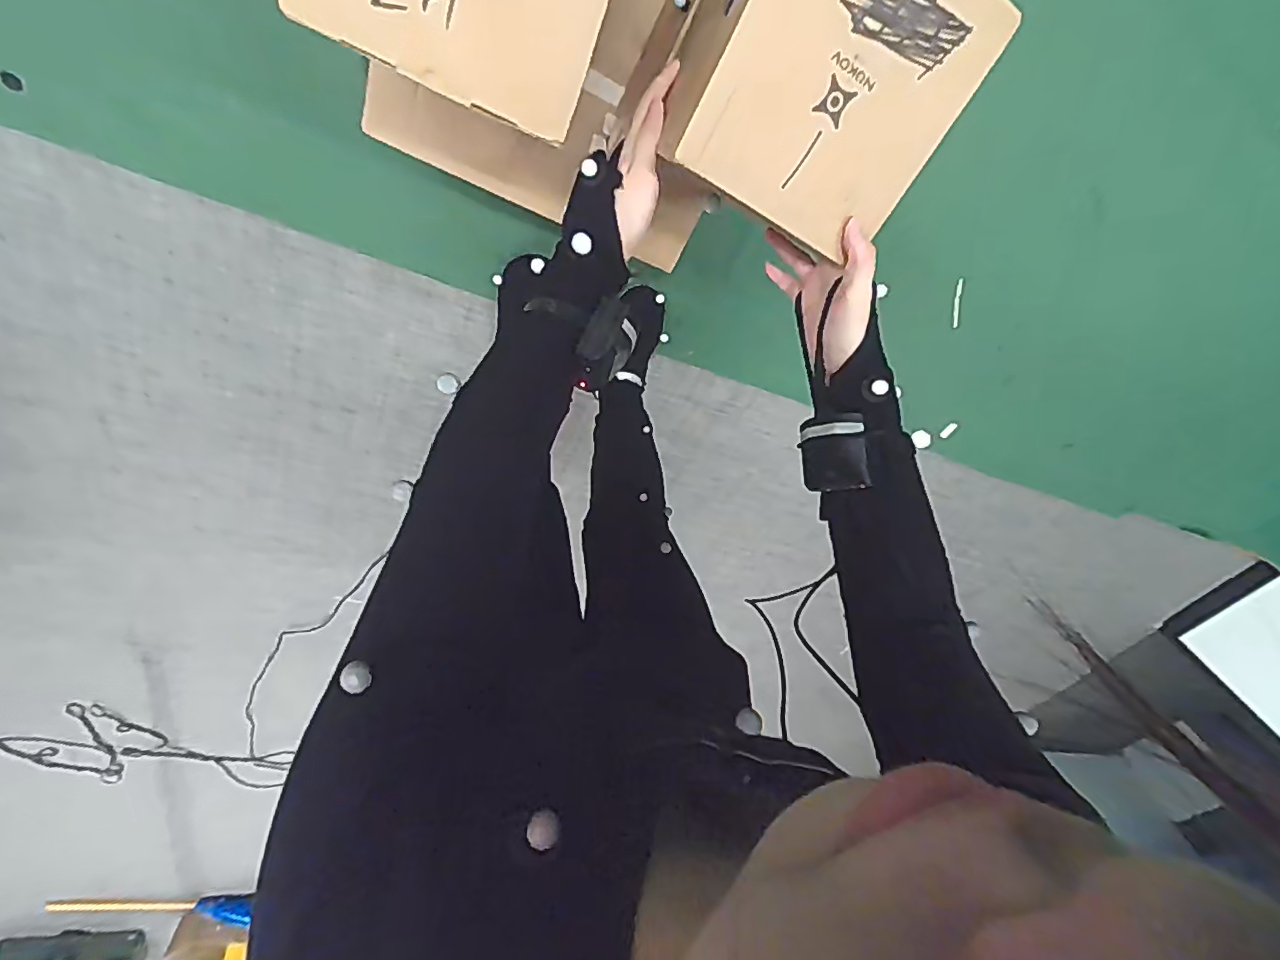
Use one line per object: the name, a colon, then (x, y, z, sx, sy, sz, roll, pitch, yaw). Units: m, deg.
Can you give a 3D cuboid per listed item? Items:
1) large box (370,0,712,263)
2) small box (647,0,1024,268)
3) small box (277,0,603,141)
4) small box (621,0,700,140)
large box: (-0.088, -0.548, 0.707, 0.408, 0.320, 0.320, 15, 126, -22)
small box: (0.119, -0.297, 0.407, 0.168, 0.176, 0.179, 20, 120, -22)
small box: (-0.103, -0.350, 0.333, 0.168, 0.176, 0.179, 15, 125, -22)
small box: (0.097, -0.399, 0.544, 0.179, 0.176, 0.168, 21, 122, -23)
